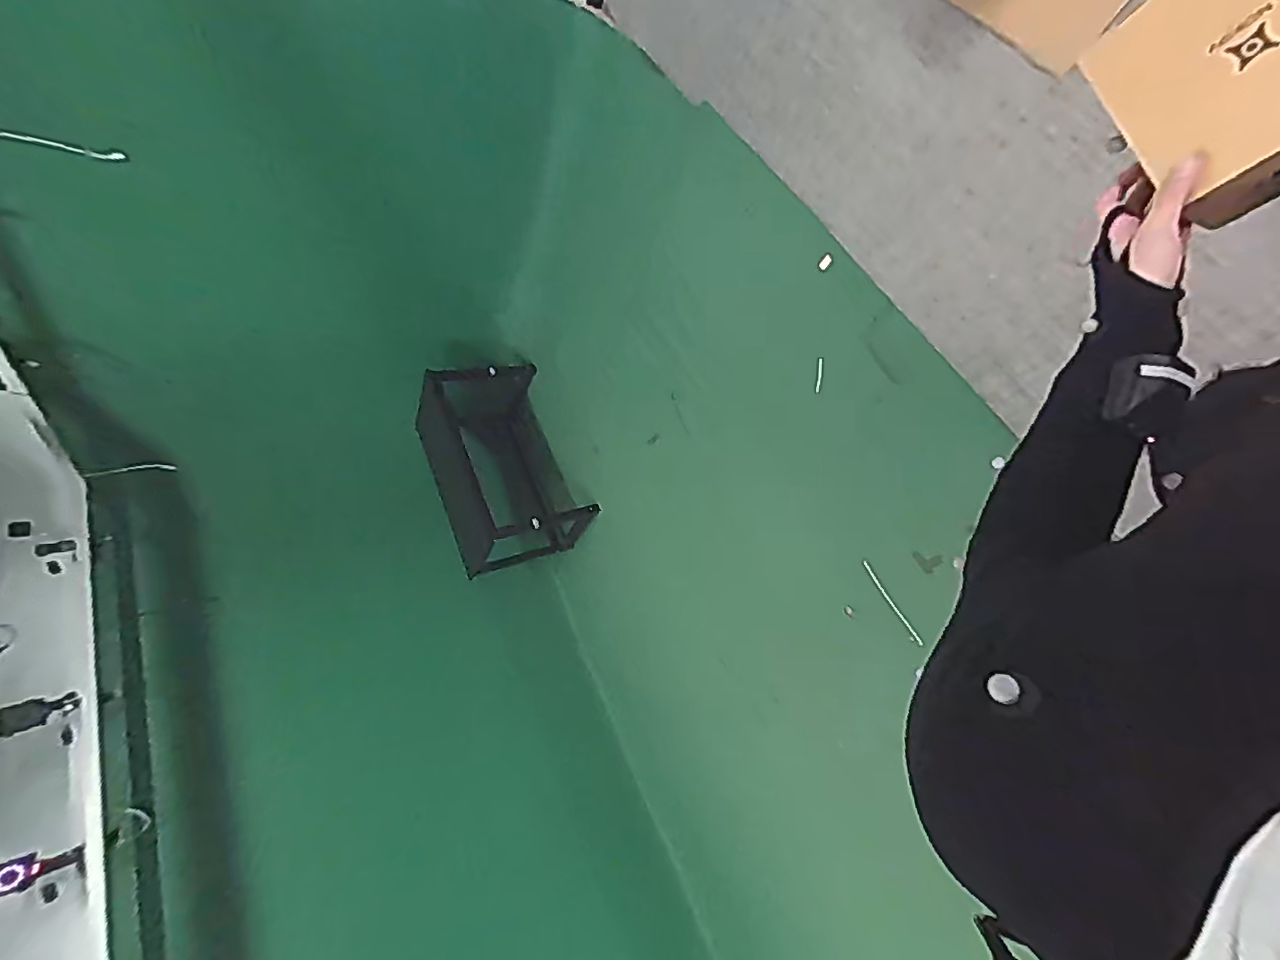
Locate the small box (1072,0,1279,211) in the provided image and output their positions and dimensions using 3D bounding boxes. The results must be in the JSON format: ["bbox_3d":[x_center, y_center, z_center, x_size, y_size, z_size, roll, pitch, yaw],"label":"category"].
[{"bbox_3d":[0.528,-0.355,0.458,0.168,0.176,0.179,-37,68,53],"label":"small box"}]
